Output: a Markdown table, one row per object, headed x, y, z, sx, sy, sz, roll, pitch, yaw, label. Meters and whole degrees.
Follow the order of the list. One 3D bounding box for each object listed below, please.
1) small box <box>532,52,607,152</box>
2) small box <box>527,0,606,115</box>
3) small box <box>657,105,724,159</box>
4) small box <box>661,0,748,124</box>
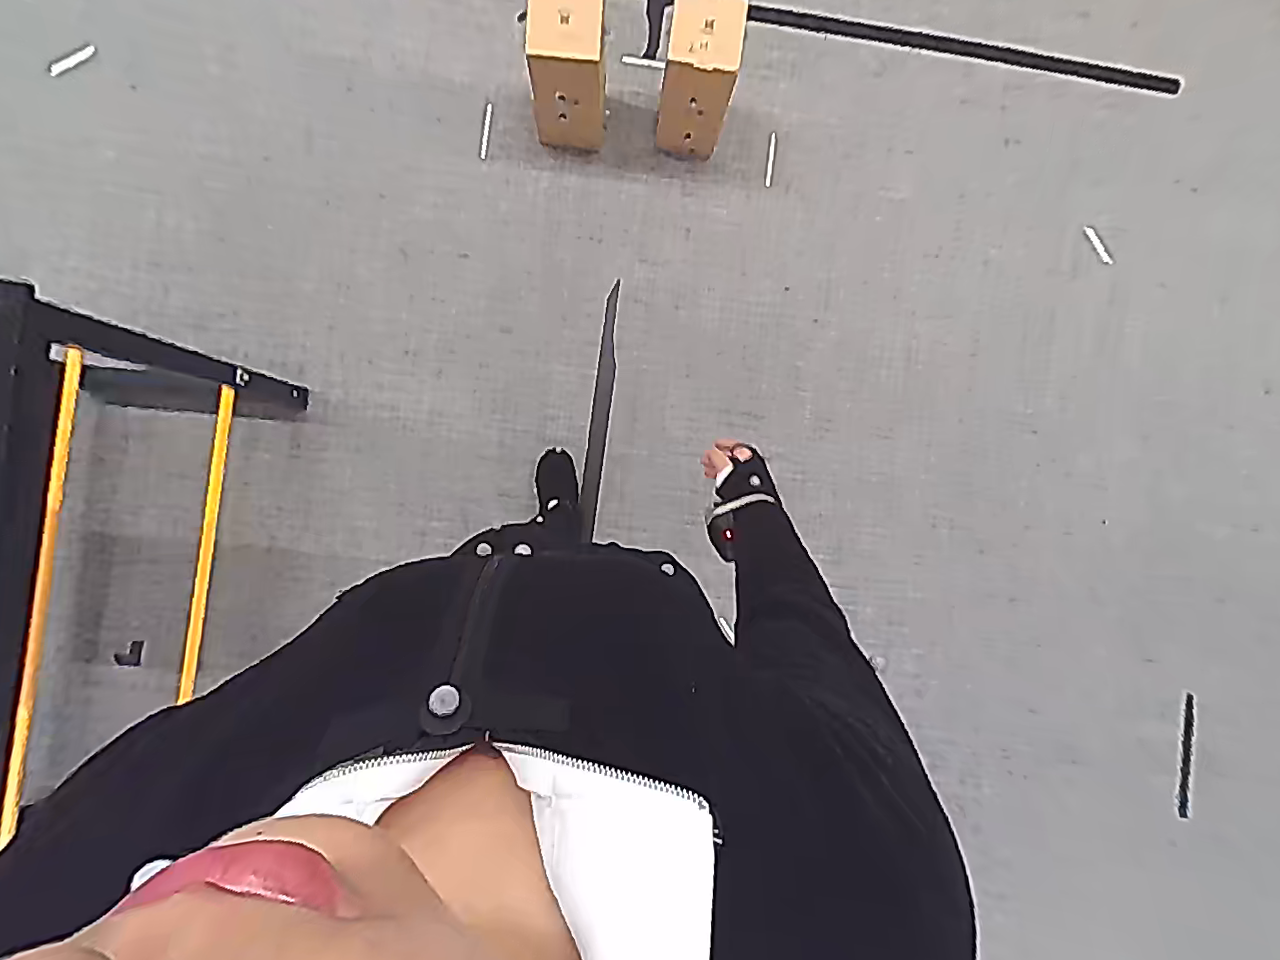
| x | y | z | sx | sy | sz | roll | pitch | yaw | label |
| --- | --- | --- | --- | --- | --- | --- | --- | --- | --- |
| -0.181 | -1.005 | 1.432 | 0.179 | 0.176 | 0.168 | 5 | 89 | -4 | small box |
| -0.167 | -1.005 | 1.270 | 0.168 | 0.176 | 0.179 | 3 | 90 | -2 | small box |
| 0.139 | -1.004 | 1.455 | 0.168 | 0.176 | 0.179 | 7 | 89 | -4 | small box |
| 0.146 | -1.001 | 1.289 | 0.168 | 0.176 | 0.179 | 8 | 89 | -3 | small box |
